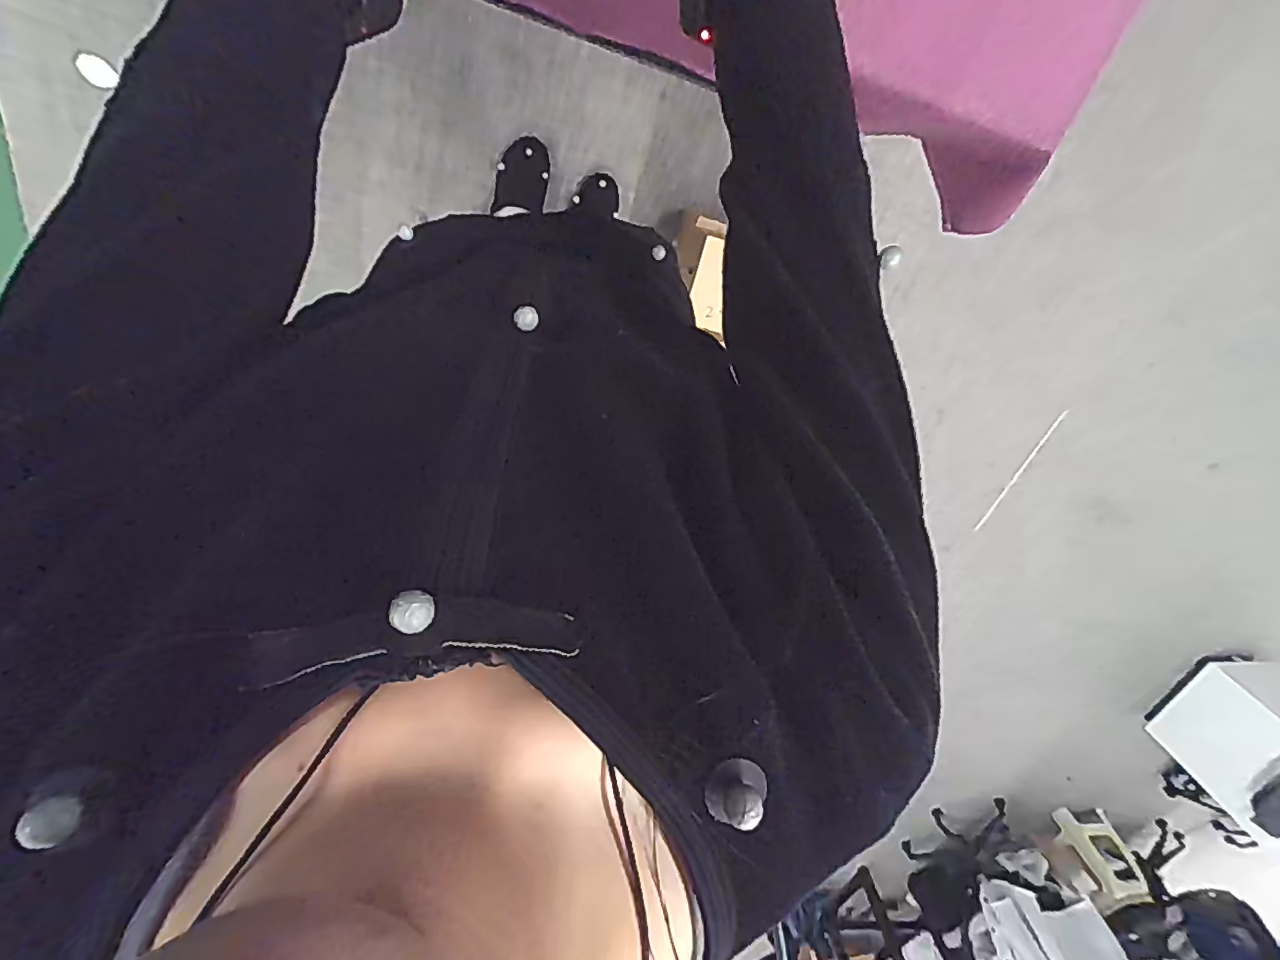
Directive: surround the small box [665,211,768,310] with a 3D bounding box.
[{"bbox_3d":[0.173,-0.526,1.285,0.179,0.176,0.168,11,120,-13],"label":"small box"}]
